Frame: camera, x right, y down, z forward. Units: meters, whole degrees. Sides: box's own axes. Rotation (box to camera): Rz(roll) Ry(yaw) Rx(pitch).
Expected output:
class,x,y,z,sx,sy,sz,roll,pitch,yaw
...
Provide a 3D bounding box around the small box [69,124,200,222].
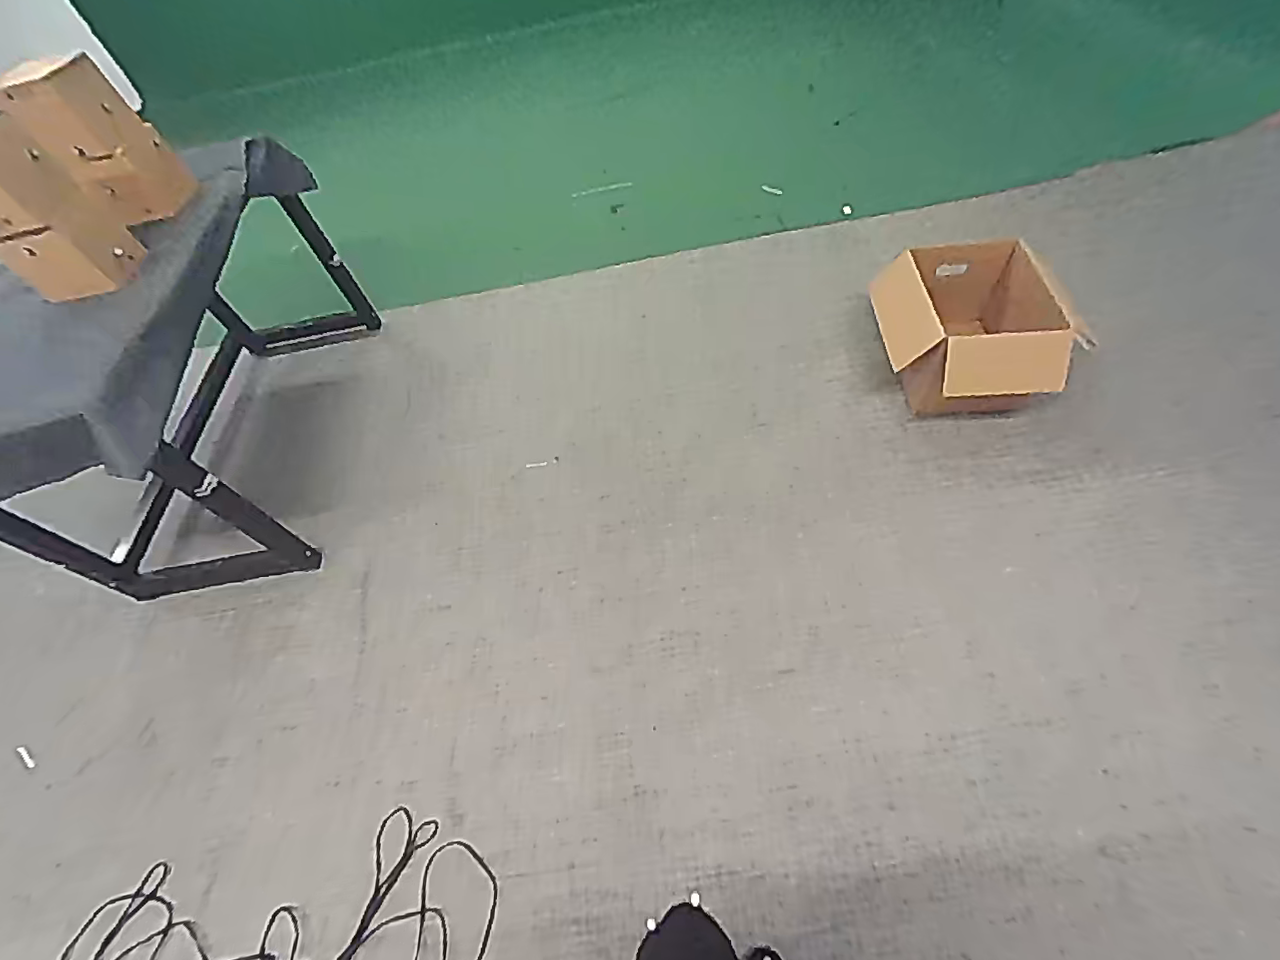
class,x,y,z,sx,sy,sz,roll,pitch,yaw
small box,-1.357,-0.824,1.469,0.168,0.176,0.179,-9,54,4

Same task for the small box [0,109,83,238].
class,x,y,z,sx,sy,sz,roll,pitch,yaw
small box,-1.351,-0.637,1.137,0.168,0.176,0.179,-12,56,3

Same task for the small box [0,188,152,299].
class,x,y,z,sx,sy,sz,roll,pitch,yaw
small box,-1.330,-0.551,1.273,0.179,0.176,0.168,-10,55,2

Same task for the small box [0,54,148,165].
class,x,y,z,sx,sy,sz,roll,pitch,yaw
small box,-1.396,-0.913,1.331,0.168,0.176,0.179,-6,55,7
